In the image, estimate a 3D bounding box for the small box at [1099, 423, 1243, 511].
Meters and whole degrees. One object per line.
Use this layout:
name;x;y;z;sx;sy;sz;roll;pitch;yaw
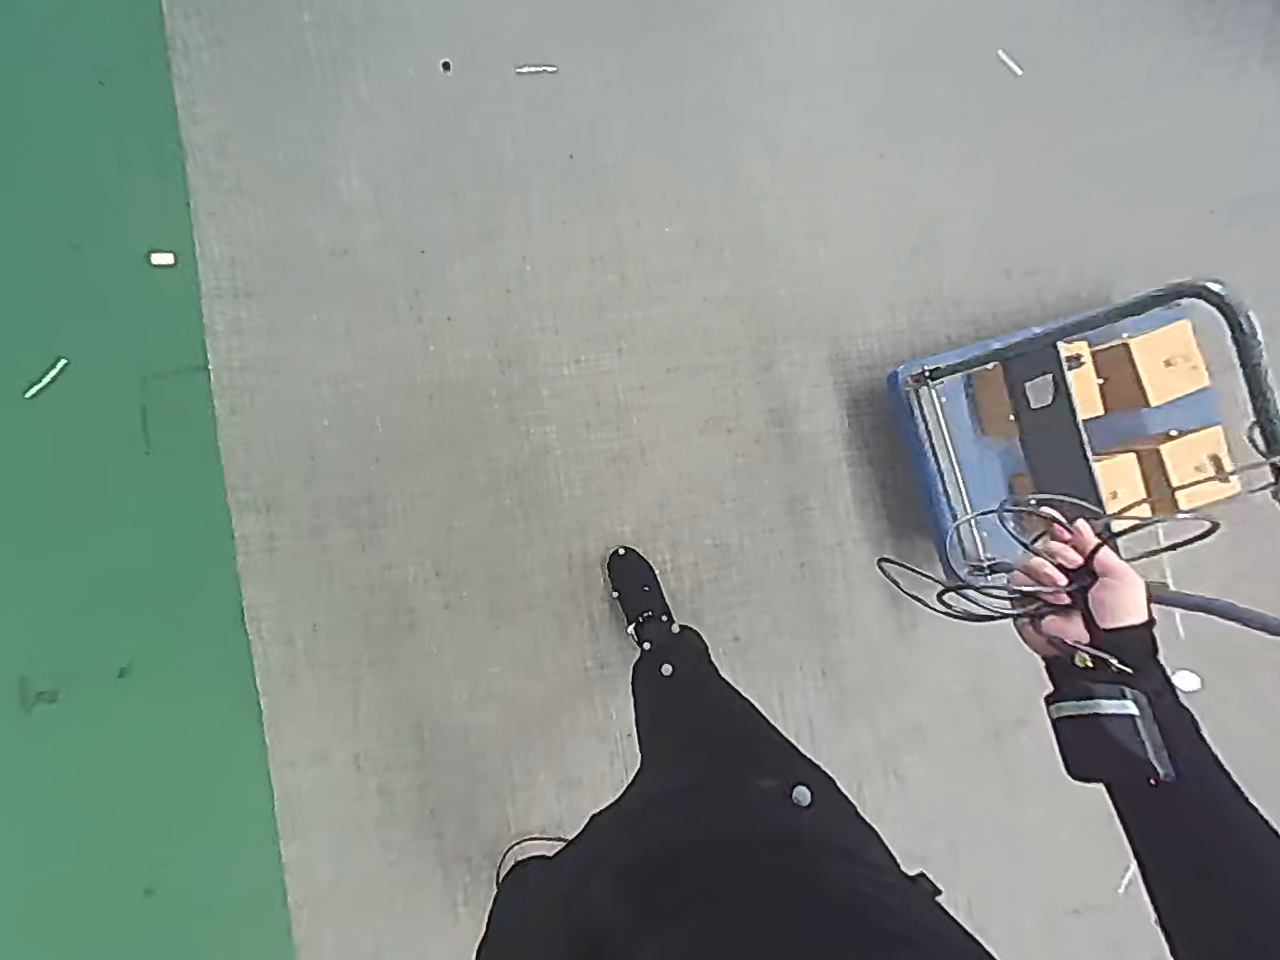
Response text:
small box;1.280;-0.029;1.316;0.179;0.176;0.168;-18;89;-7

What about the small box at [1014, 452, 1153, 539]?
small box;1.046;0.035;1.286;0.179;0.176;0.168;-15;89;-7

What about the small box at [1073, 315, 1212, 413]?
small box;1.208;-0.275;1.319;0.179;0.176;0.168;-20;91;-8
